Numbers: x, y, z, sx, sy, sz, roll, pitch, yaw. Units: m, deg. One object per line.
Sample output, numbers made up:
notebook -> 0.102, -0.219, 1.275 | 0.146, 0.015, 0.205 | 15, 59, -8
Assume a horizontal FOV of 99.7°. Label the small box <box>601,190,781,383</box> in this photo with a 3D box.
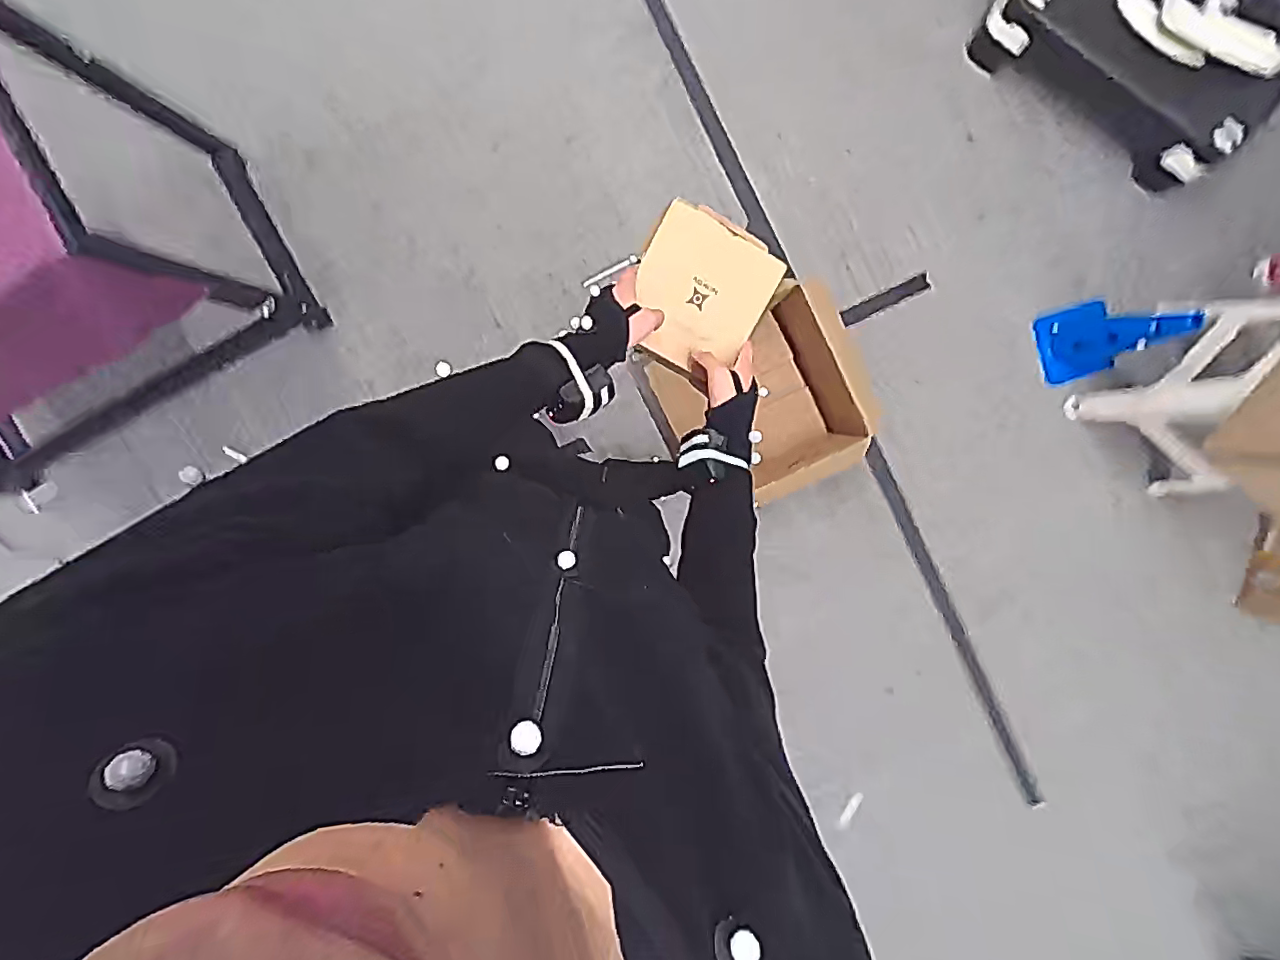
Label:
small box -> 0.055, -0.254, 0.744 | 0.168, 0.176, 0.179 | 26, 99, -14
